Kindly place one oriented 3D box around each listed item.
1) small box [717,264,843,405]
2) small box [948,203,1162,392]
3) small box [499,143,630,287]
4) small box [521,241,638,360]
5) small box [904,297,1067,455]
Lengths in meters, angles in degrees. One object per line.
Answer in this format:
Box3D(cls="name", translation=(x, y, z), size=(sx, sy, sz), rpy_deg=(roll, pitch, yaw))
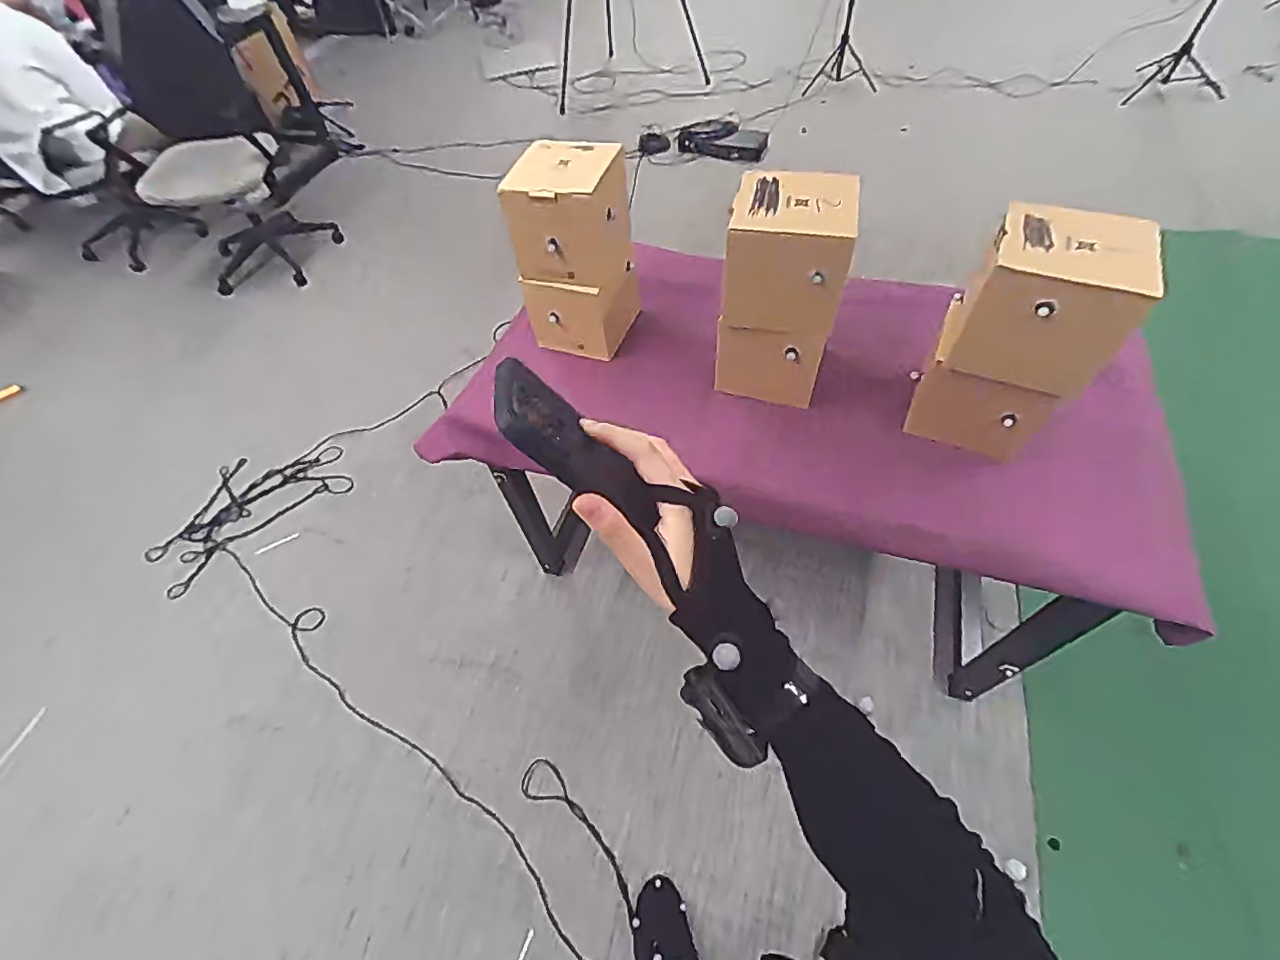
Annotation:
Box3D(cls="small box", translation=(0.246, -0.258, 0.976), size=(0.179, 0.176, 0.168), rpy_deg=(15, 57, 15))
Box3D(cls="small box", translation=(0.548, -0.244, 0.735), size=(0.179, 0.176, 0.168), rpy_deg=(20, 59, 18))
Box3D(cls="small box", translation=(-0.122, -0.469, 0.964), size=(0.168, 0.176, 0.179), rpy_deg=(11, 57, 13))
Box3D(cls="small box", translation=(-0.110, -0.367, 1.093), size=(0.168, 0.176, 0.179), rpy_deg=(15, 58, 16))
Box3D(cls="small box", translation=(0.559, -0.164, 0.879), size=(0.179, 0.176, 0.168), rpy_deg=(20, 59, 20))
